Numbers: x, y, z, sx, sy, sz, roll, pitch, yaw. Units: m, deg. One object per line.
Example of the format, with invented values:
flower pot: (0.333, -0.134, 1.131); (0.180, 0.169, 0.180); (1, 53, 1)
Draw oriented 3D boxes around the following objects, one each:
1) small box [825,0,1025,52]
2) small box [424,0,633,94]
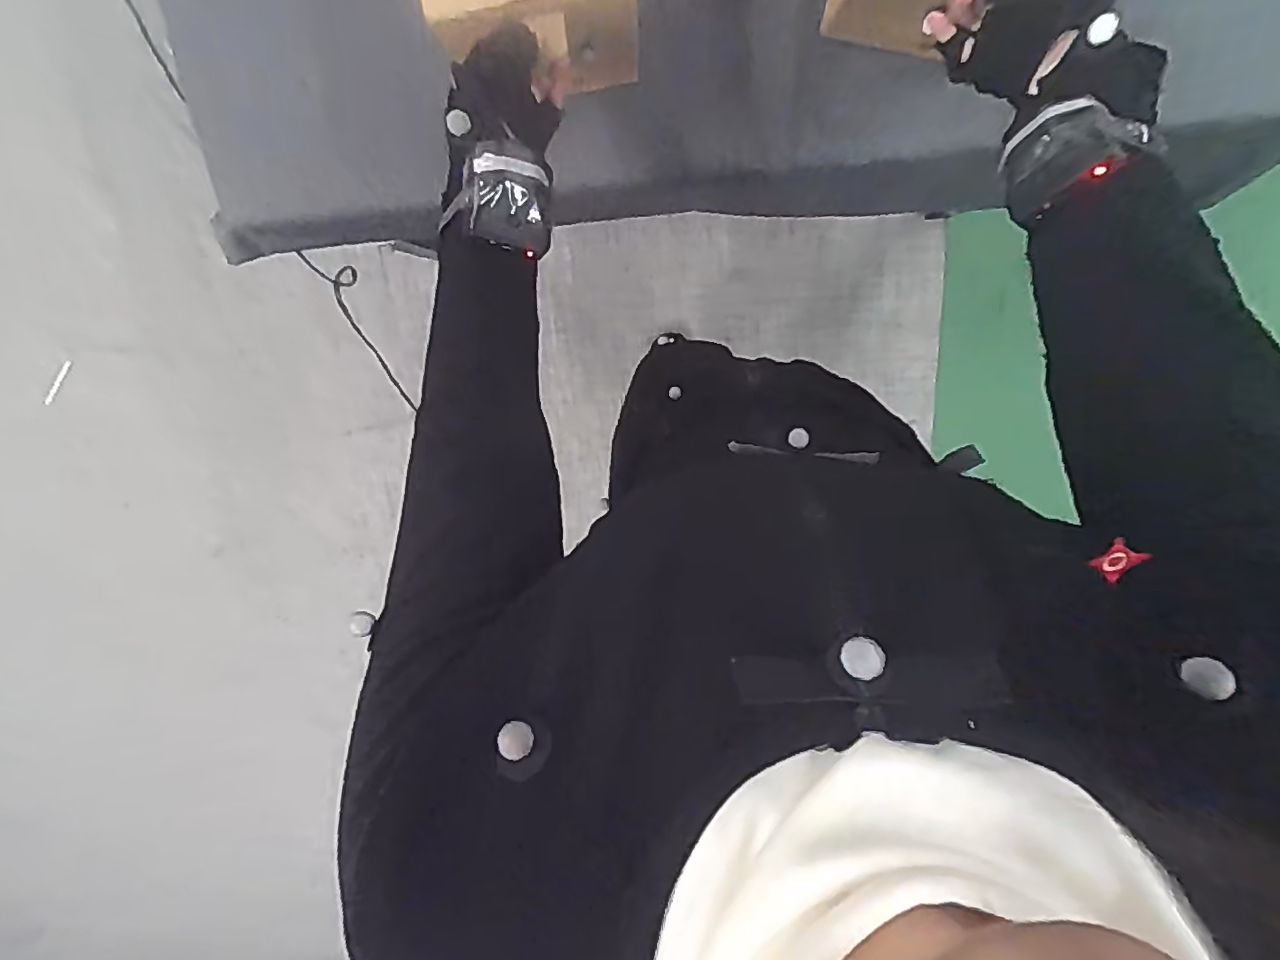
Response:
small box: (0.275, -0.510, 0.461); (0.168, 0.176, 0.179); (7, 107, -3)
small box: (-0.098, -0.470, 0.470); (0.168, 0.176, 0.179); (-10, 103, 1)
